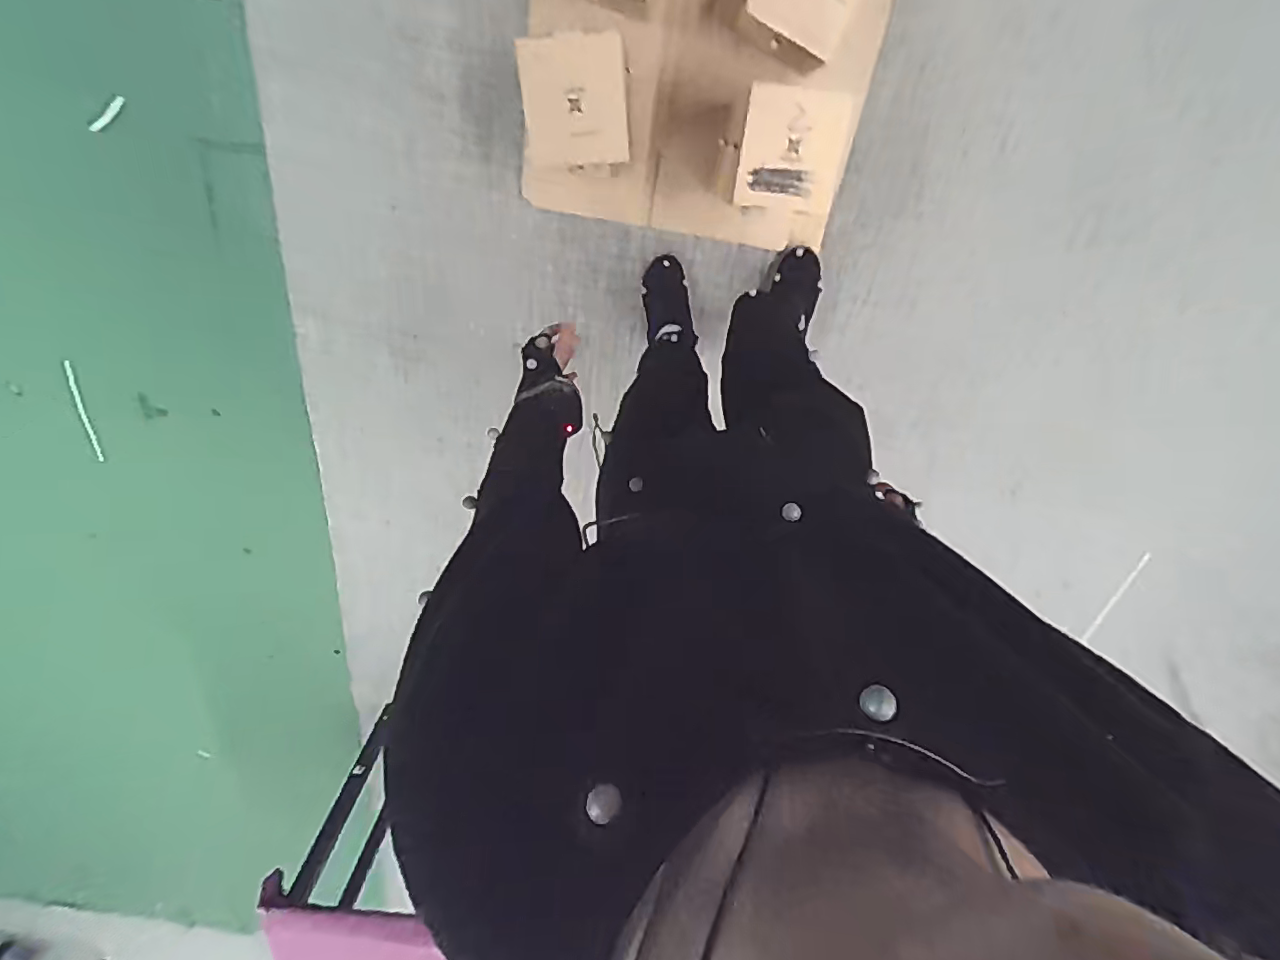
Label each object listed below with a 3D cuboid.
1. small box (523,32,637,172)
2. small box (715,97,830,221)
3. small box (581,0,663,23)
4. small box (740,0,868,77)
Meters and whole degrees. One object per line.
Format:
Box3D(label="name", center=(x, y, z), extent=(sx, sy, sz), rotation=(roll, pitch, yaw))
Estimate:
Box3D(label="small box", center=(-0.092, -0.636, 0.929), extent=(0.168, 0.176, 0.179), rotation=(-1, 119, 4))
Box3D(label="small box", center=(0.256, -0.643, 1.096), extent=(0.168, 0.176, 0.179), rotation=(12, 118, -5))
Box3D(label="small box", center=(-0.033, -0.941, 0.944), extent=(0.179, 0.176, 0.168), rotation=(15, 118, -5))
Box3D(label="small box", center=(0.298, -0.863, 0.971), extent=(0.179, 0.176, 0.168), rotation=(23, 117, -11))
